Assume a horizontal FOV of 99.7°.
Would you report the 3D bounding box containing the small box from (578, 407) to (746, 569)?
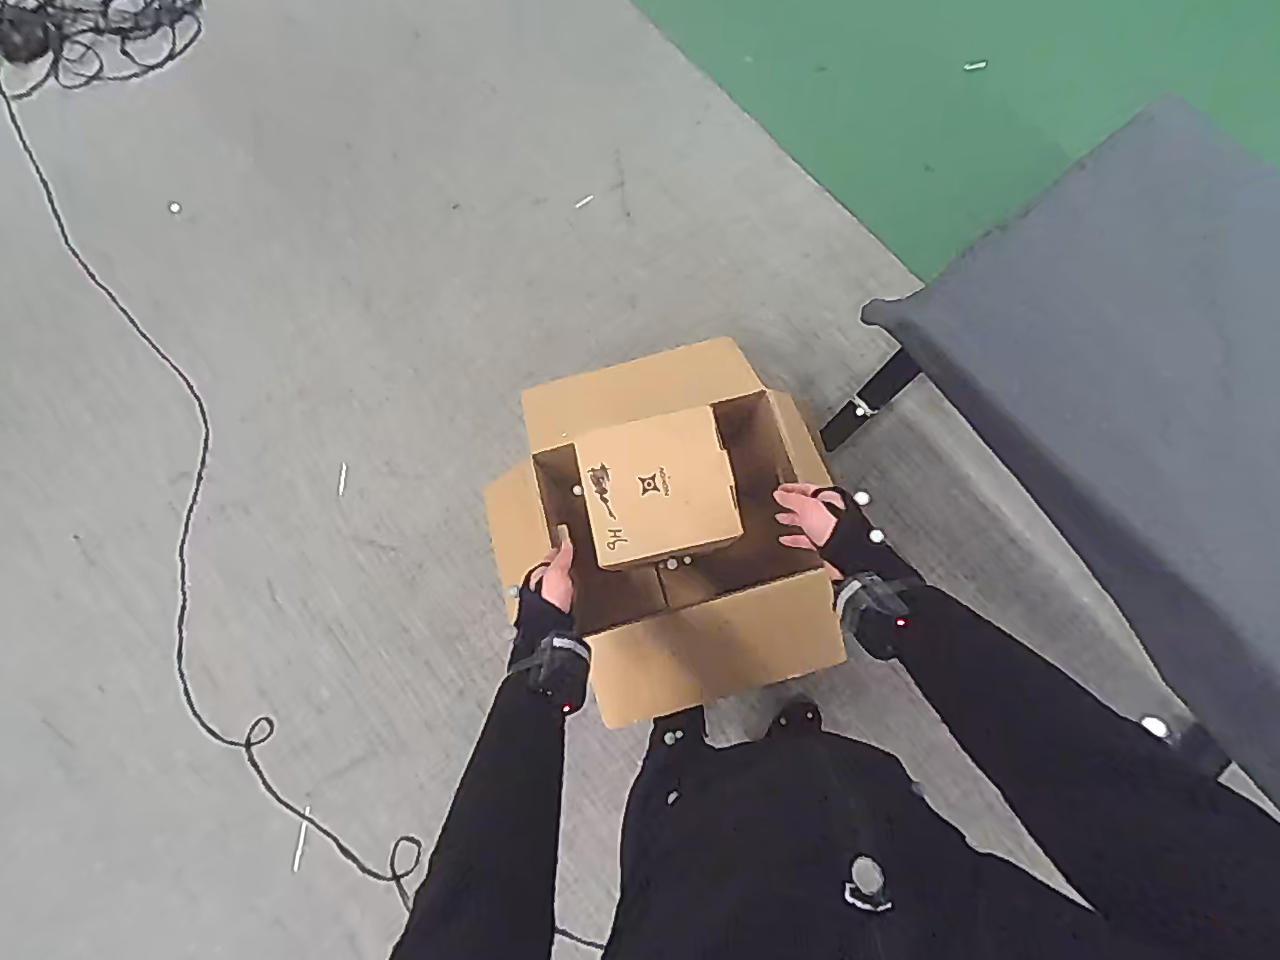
[{"bbox_3d":[0.025,0.020,0.720,0.179,0.176,0.168,-12,78,-1],"label":"small box"}]
